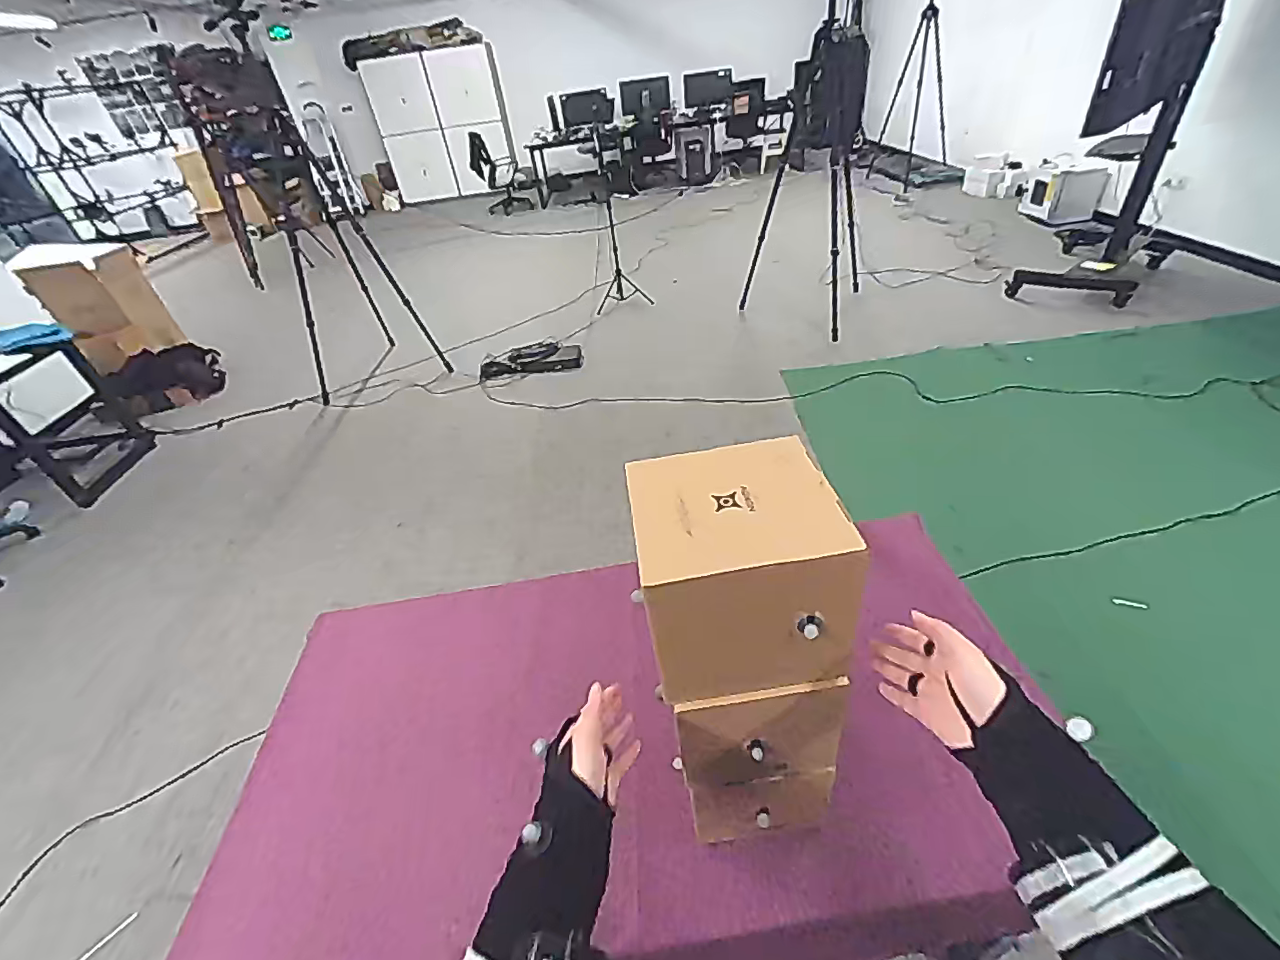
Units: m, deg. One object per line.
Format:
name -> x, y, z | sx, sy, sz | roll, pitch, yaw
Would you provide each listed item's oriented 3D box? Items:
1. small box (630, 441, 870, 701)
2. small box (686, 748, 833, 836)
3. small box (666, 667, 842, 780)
small box -> 0.091, 0.087, 0.515 | 0.179, 0.176, 0.168 | -9, 37, 0
small box -> 0.139, 0.345, 0.713 | 0.168, 0.176, 0.179 | -8, 39, 0
small box -> 0.110, 0.215, 0.608 | 0.168, 0.176, 0.179 | -4, 36, 1
